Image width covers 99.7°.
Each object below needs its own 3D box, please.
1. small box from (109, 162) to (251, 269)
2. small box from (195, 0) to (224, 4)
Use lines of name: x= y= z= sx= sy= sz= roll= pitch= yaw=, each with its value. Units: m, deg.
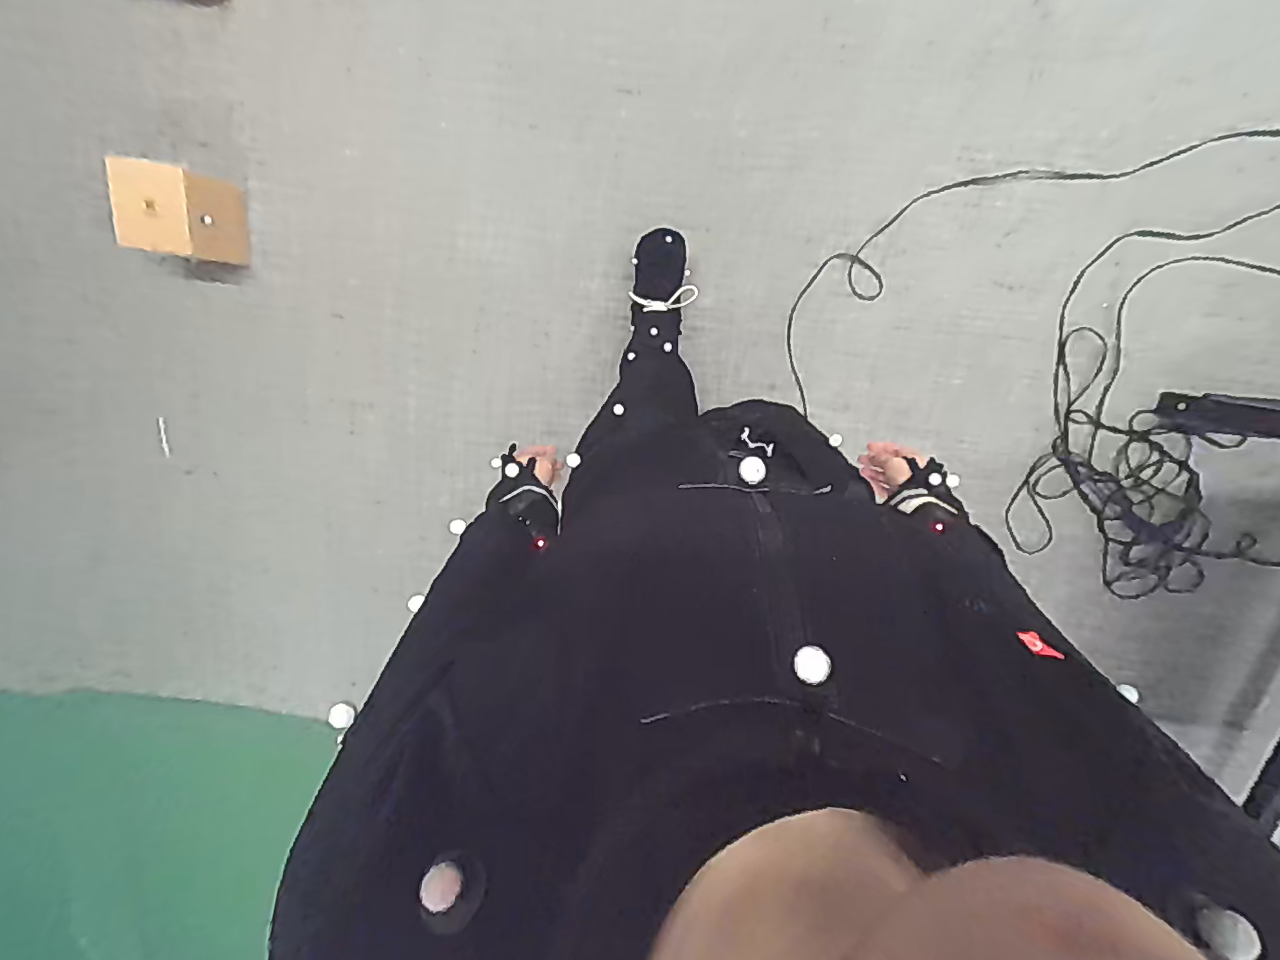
small box: x=-1.004 y=-0.576 z=1.196 sx=0.168 sy=0.176 sz=0.179 roll=8 pitch=107 yaw=1
small box: x=-0.931 y=-1.071 z=1.045 sx=0.179 sy=0.176 sz=0.168 roll=12 pitch=106 yaw=1
